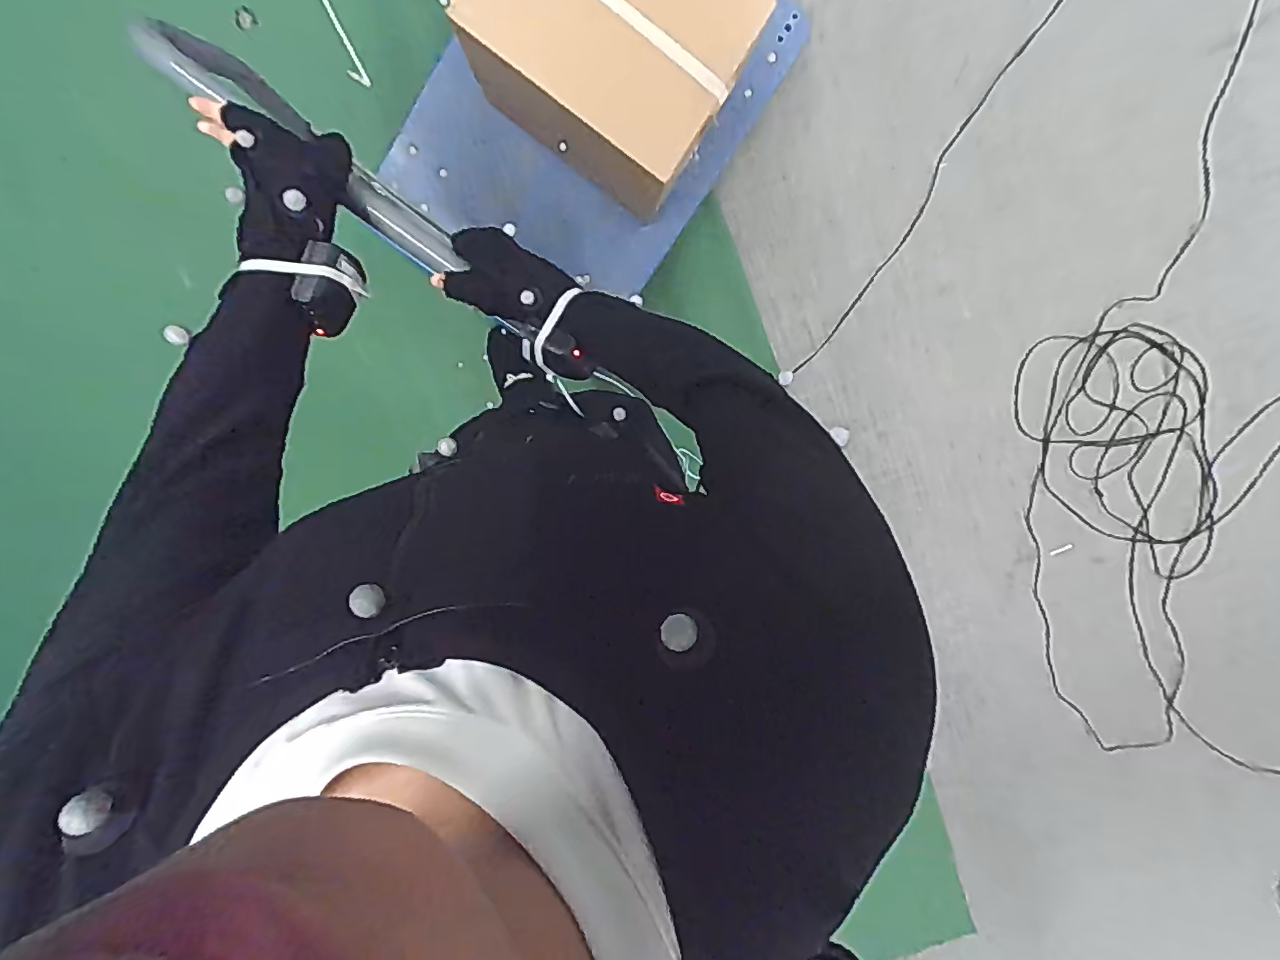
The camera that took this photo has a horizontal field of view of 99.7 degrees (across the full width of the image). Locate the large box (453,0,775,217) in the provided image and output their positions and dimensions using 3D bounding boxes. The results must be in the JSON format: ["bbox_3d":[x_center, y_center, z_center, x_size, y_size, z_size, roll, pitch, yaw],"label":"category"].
[{"bbox_3d":[-0.044,-0.750,0.968,0.408,0.320,0.320,33,99,-11],"label":"large box"}]
